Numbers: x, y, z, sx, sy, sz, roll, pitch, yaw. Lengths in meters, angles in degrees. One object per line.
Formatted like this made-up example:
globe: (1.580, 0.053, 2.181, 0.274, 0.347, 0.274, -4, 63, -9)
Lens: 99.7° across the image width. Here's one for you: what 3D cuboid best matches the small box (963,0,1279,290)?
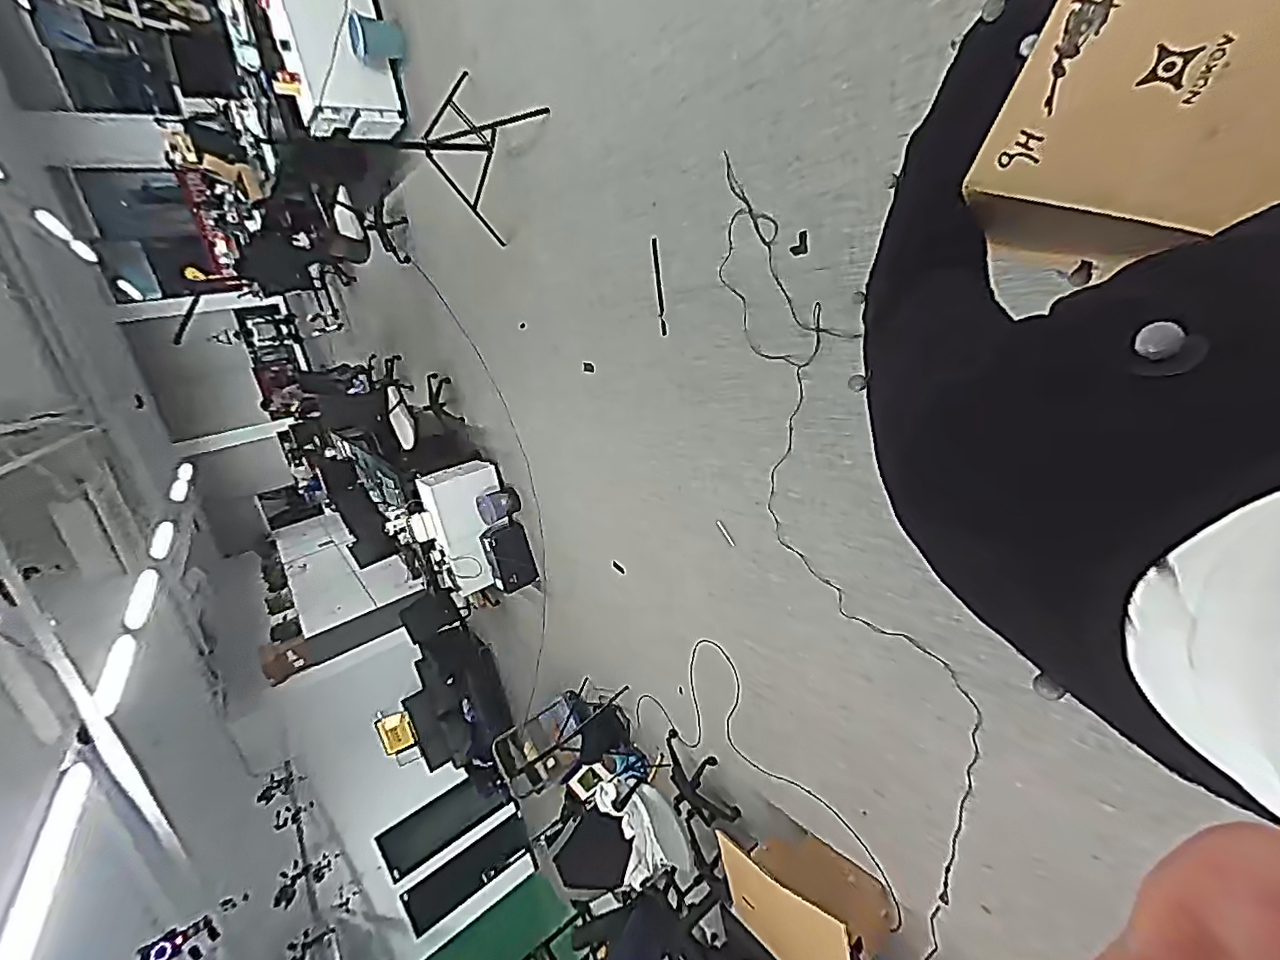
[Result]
small box: (0.372, -0.250, 0.388, 0.179, 0.176, 0.168, 33, 112, 30)
